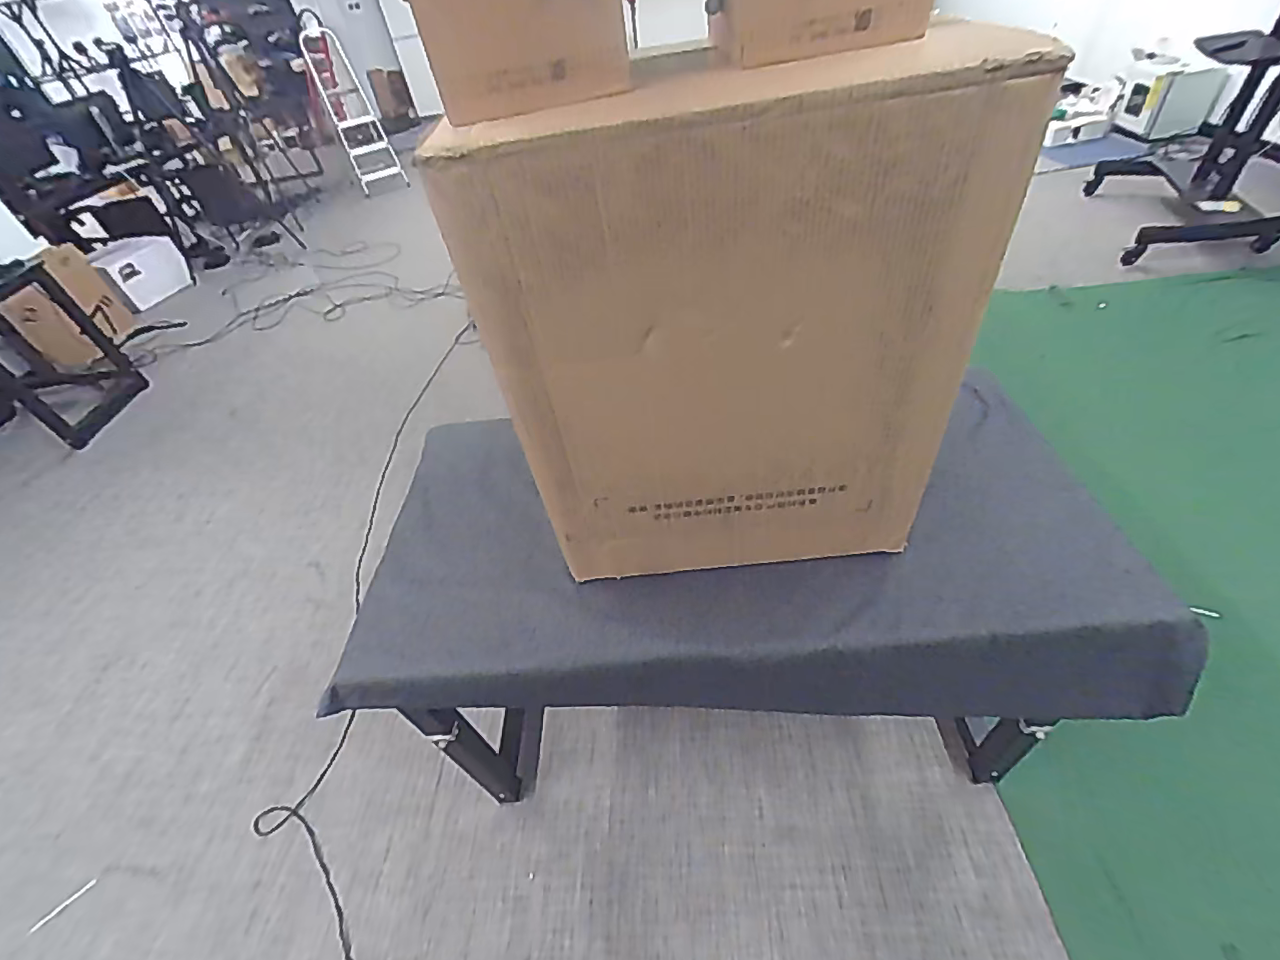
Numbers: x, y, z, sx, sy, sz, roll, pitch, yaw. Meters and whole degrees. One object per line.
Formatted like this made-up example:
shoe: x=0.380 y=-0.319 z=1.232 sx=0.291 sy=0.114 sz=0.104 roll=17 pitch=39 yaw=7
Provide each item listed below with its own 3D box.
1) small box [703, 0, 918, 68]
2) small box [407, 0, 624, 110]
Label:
small box: x=0.147 y=-0.491 z=0.480 sx=0.168 sy=0.176 sz=0.179 roll=-9 pitch=48 yaw=2
small box: x=-0.117 y=-0.449 z=0.472 sx=0.168 sy=0.176 sz=0.179 roll=-14 pitch=48 yaw=-1
